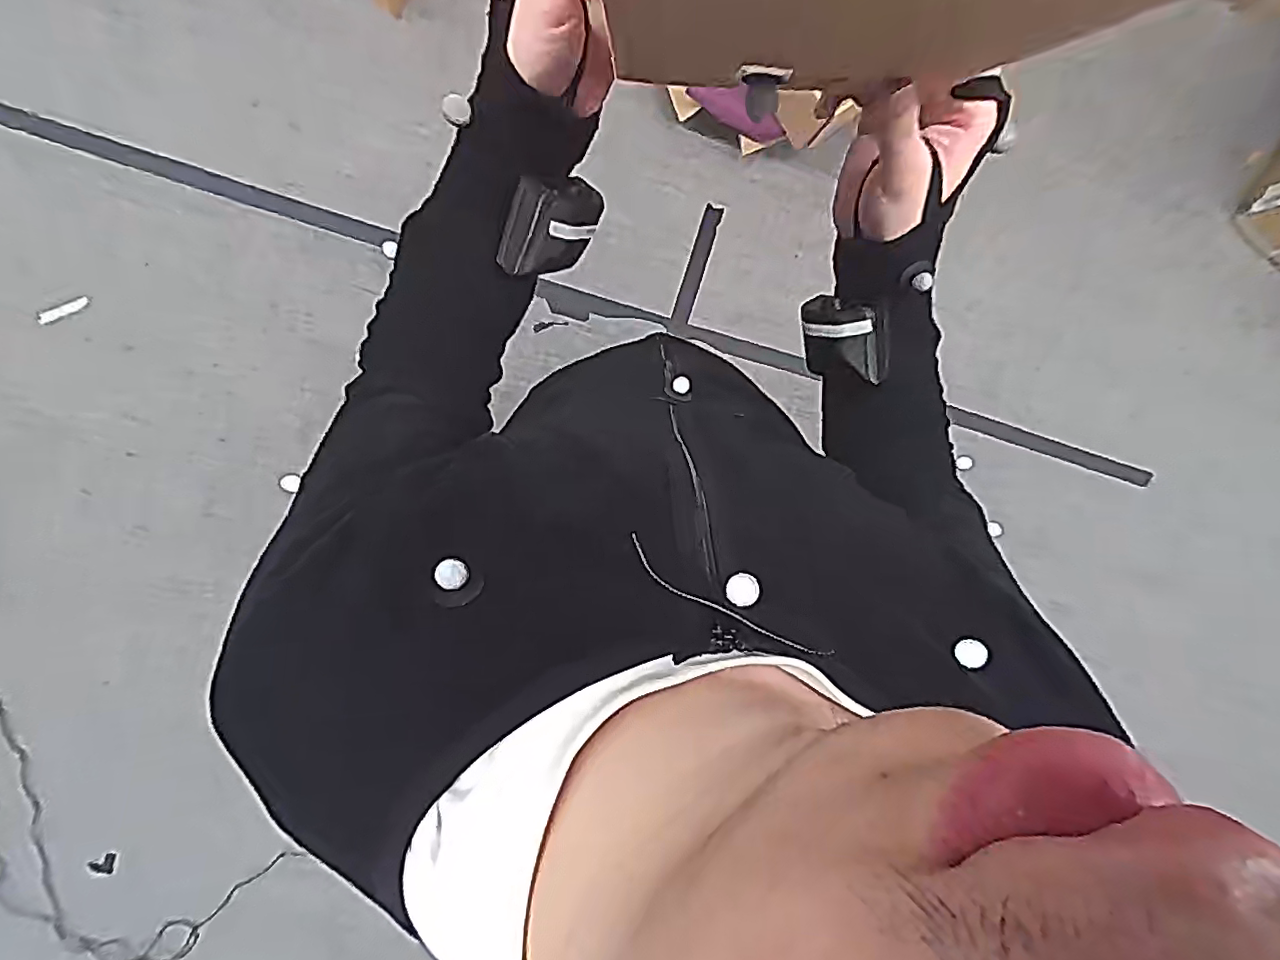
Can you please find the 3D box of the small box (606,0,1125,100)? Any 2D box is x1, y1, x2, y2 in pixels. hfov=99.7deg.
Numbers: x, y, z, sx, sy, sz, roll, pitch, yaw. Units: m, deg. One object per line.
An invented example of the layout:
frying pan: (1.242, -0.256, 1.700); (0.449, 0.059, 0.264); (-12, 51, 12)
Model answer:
small box: (0.068, -0.250, 0.182); (0.168, 0.176, 0.179); (1, 117, 1)
